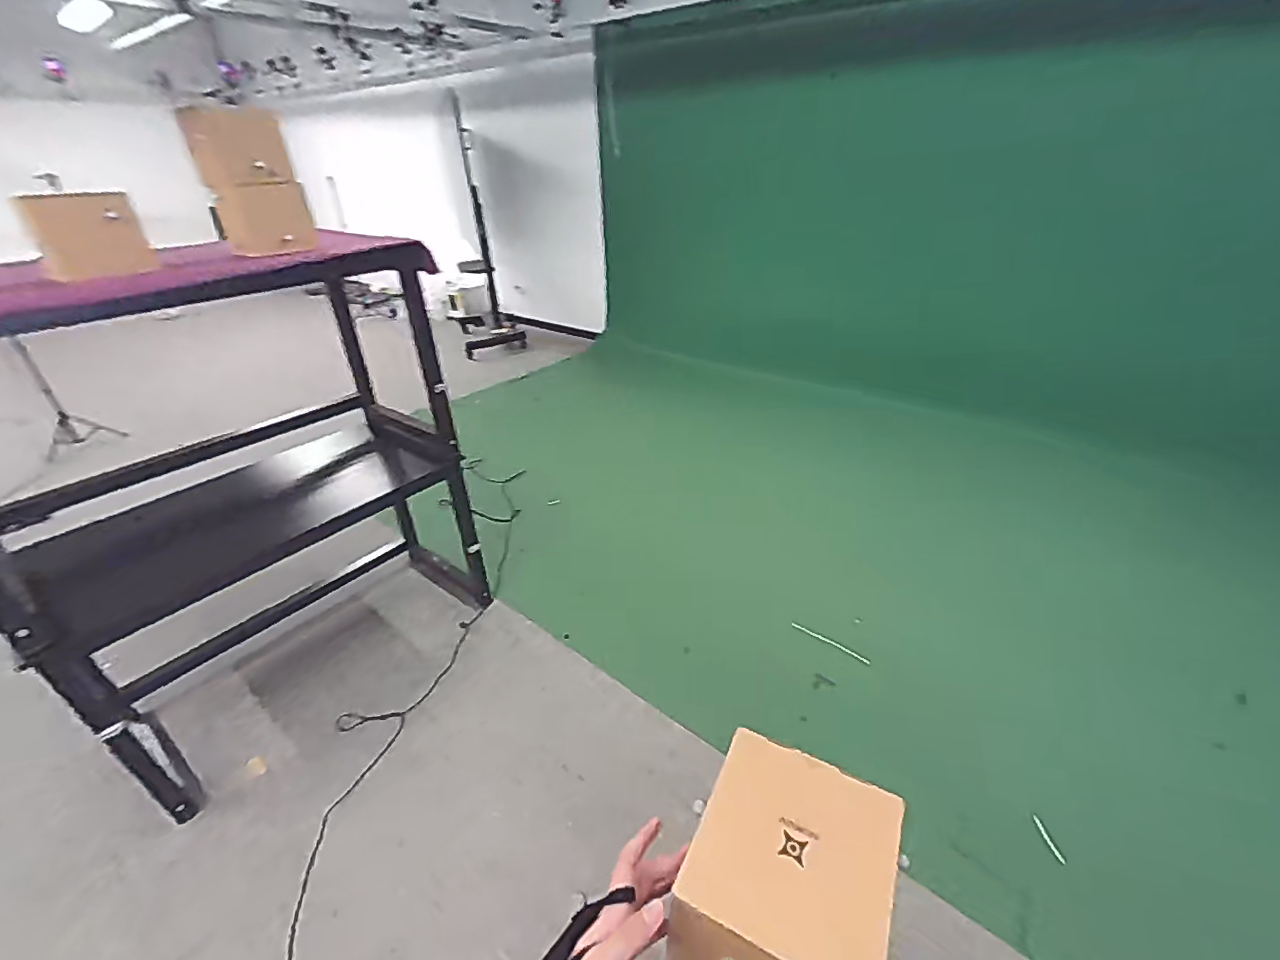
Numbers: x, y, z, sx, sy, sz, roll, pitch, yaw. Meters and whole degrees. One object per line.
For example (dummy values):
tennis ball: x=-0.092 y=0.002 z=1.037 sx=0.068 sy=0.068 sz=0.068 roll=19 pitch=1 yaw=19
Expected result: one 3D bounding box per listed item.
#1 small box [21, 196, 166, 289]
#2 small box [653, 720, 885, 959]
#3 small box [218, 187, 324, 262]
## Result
small box: x=-1.224 y=-0.542 z=1.225 sx=0.168 sy=0.176 sz=0.179 roll=20 pitch=38 yaw=33
small box: x=0.124 y=0.383 z=0.524 sx=0.168 sy=0.176 sz=0.179 roll=15 pitch=35 yaw=23
small box: x=-0.994 y=-0.700 z=1.473 sx=0.168 sy=0.176 sz=0.179 roll=19 pitch=37 yaw=33
